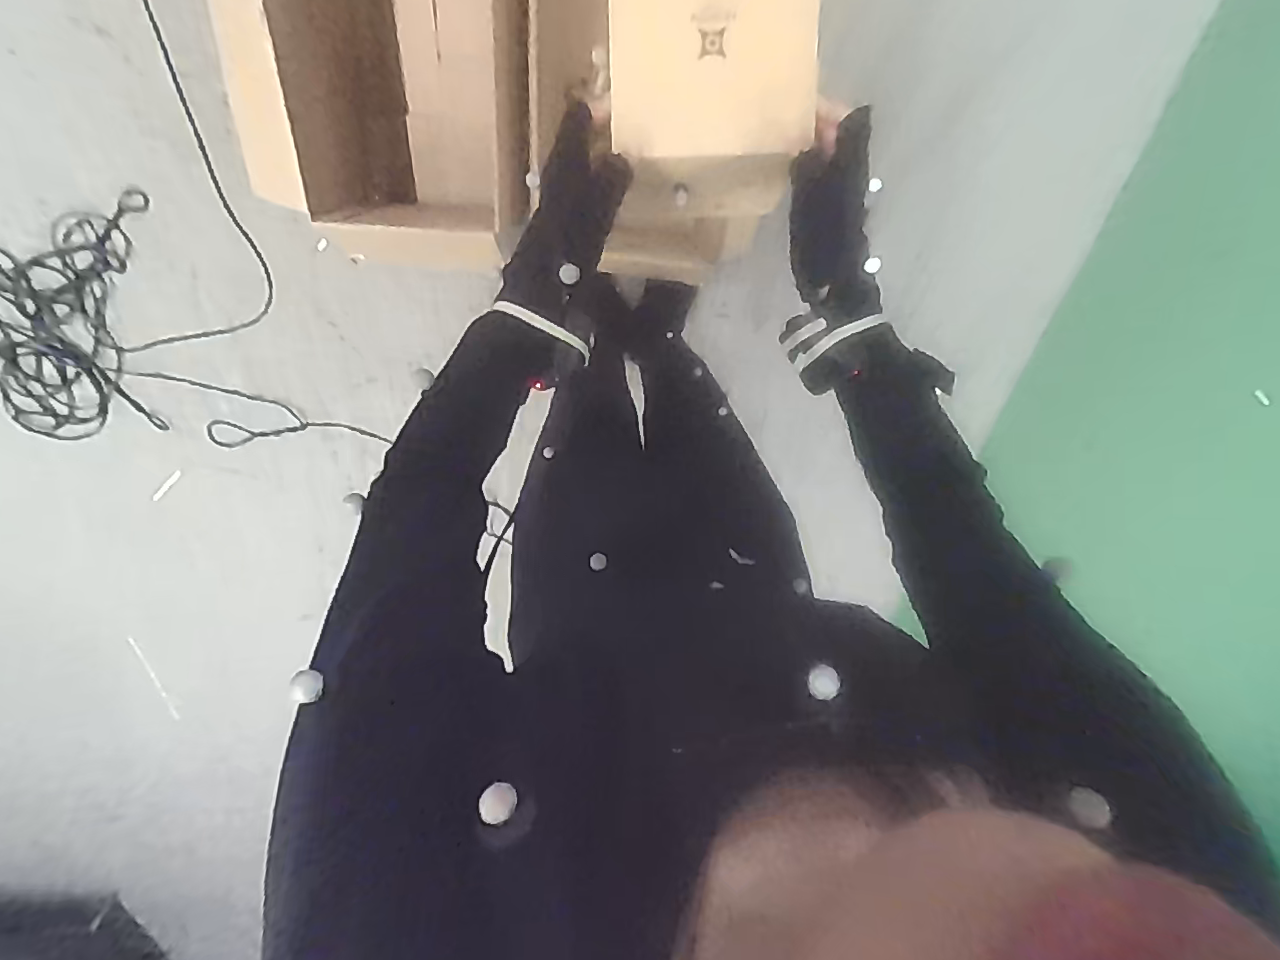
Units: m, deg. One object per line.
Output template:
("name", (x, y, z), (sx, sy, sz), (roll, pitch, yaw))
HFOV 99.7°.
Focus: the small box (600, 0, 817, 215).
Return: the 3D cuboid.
("small box", (0.055, -0.353, 0.489), (0.168, 0.176, 0.179), (-1, 99, 2))
